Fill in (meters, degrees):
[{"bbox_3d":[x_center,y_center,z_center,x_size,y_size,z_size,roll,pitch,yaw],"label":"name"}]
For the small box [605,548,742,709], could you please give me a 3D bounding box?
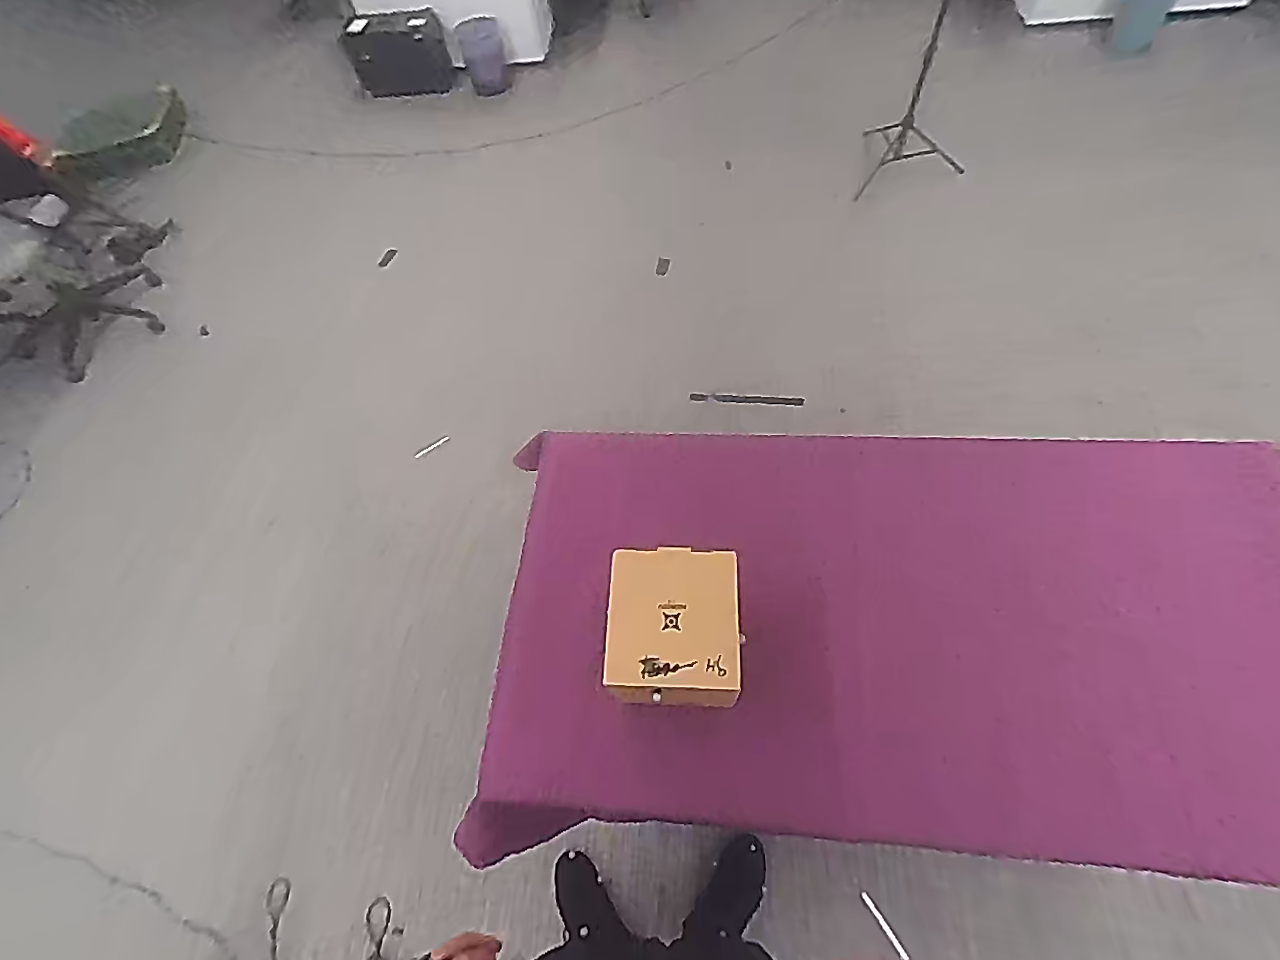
[{"bbox_3d":[0.052,0.209,0.750,0.168,0.176,0.179,1,61,7],"label":"small box"}]
